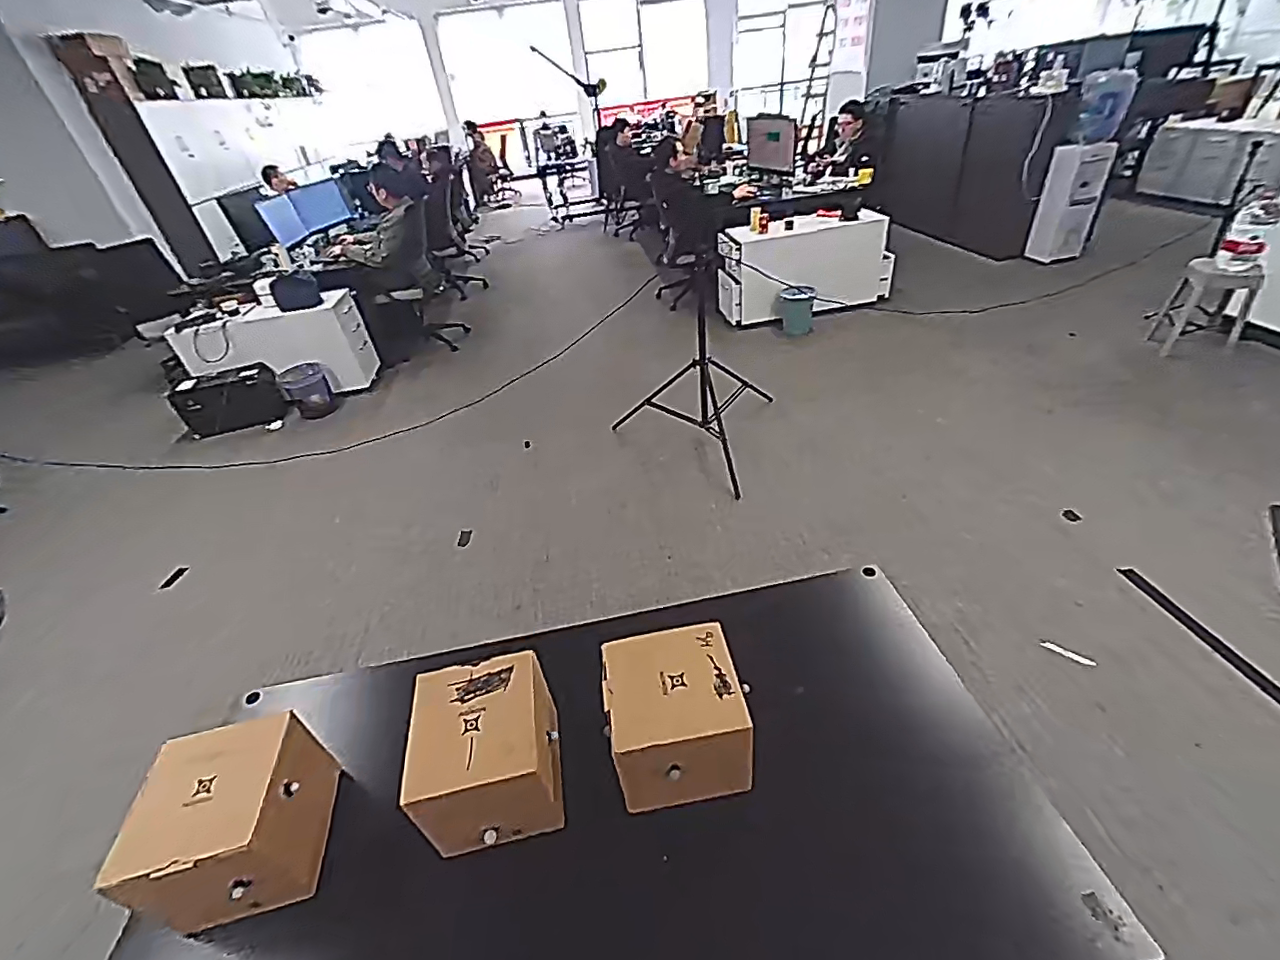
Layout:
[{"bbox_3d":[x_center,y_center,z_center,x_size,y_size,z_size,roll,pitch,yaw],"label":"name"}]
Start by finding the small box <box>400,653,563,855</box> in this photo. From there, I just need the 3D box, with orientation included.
[{"bbox_3d":[-0.205,0.373,0.744,0.168,0.176,0.179,-11,37,-5],"label":"small box"}]

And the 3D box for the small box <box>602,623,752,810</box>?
[{"bbox_3d":[0.052,0.331,0.756,0.179,0.176,0.168,-10,36,-2],"label":"small box"}]

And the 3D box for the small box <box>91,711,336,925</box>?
[{"bbox_3d":[-0.528,0.444,0.708,0.168,0.176,0.179,-12,36,-8],"label":"small box"}]
